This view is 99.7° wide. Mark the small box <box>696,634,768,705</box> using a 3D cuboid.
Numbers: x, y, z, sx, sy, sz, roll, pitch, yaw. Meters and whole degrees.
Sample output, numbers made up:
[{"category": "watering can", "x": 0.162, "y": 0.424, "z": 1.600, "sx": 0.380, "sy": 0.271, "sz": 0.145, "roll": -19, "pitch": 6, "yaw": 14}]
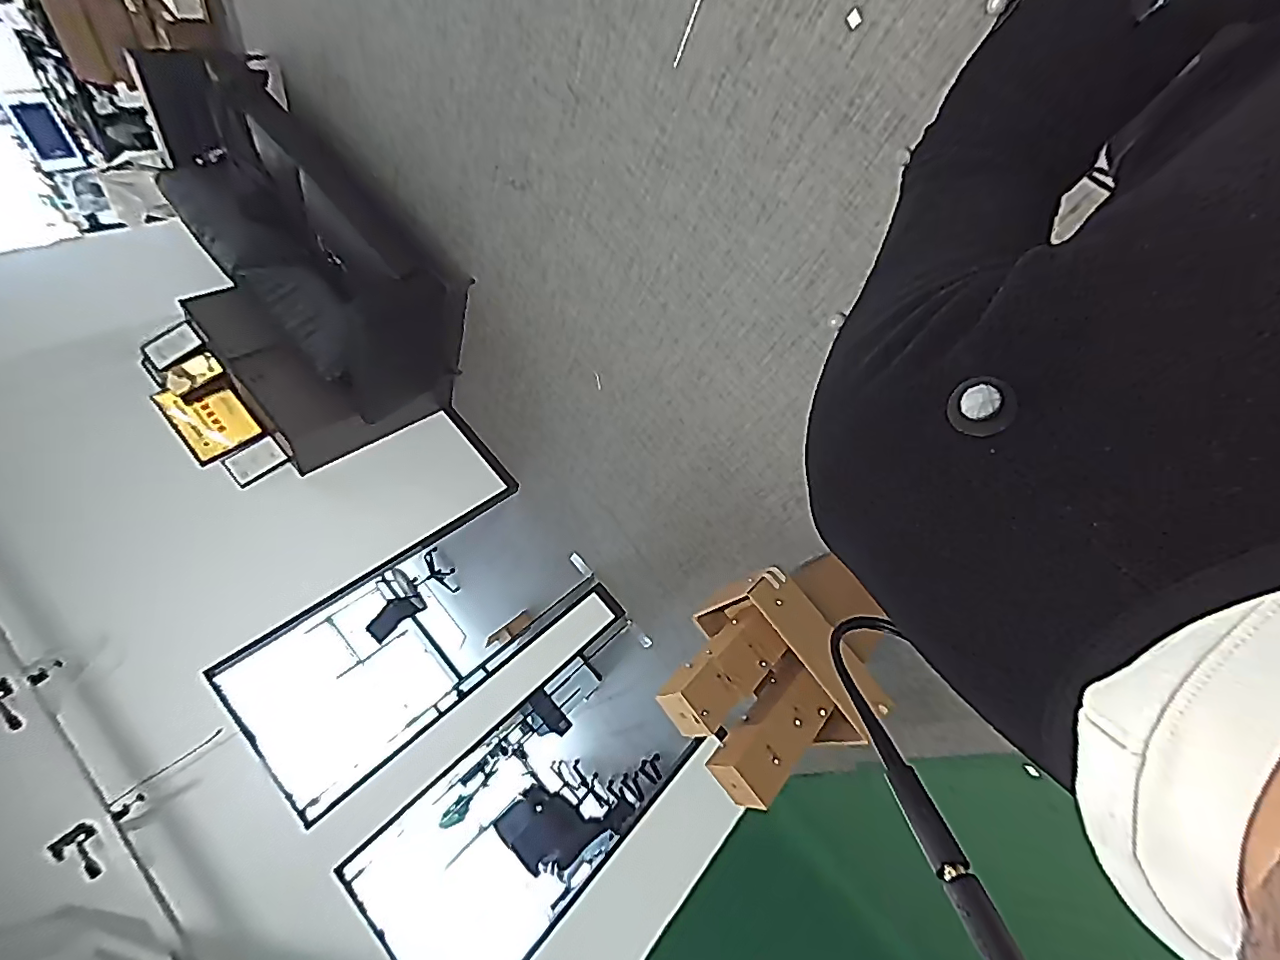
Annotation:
[{"category": "small box", "x": 0.310, "y": 0.646, "z": 1.842, "sx": 0.168, "sy": 0.176, "sz": 0.179, "roll": 53, "pitch": 145, "yaw": 4}]

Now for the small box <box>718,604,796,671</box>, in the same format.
[{"category": "small box", "x": 0.421, "y": 0.569, "z": 1.936, "sx": 0.168, "sy": 0.176, "sz": 0.179, "roll": 52, "pitch": 144, "yaw": 4}]

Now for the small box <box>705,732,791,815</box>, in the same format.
[{"category": "small box", "x": 0.351, "y": 0.937, "z": 1.742, "sx": 0.168, "sy": 0.176, "sz": 0.179, "roll": 51, "pitch": 145, "yaw": 4}]

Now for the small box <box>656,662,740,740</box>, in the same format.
[{"category": "small box", "x": 0.190, "y": 0.716, "z": 1.755, "sx": 0.168, "sy": 0.176, "sz": 0.179, "roll": 52, "pitch": 145, "yaw": 4}]

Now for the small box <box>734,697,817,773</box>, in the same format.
[{"category": "small box", "x": 0.462, "y": 0.862, "z": 1.834, "sx": 0.168, "sy": 0.176, "sz": 0.179, "roll": 51, "pitch": 145, "yaw": 5}]
